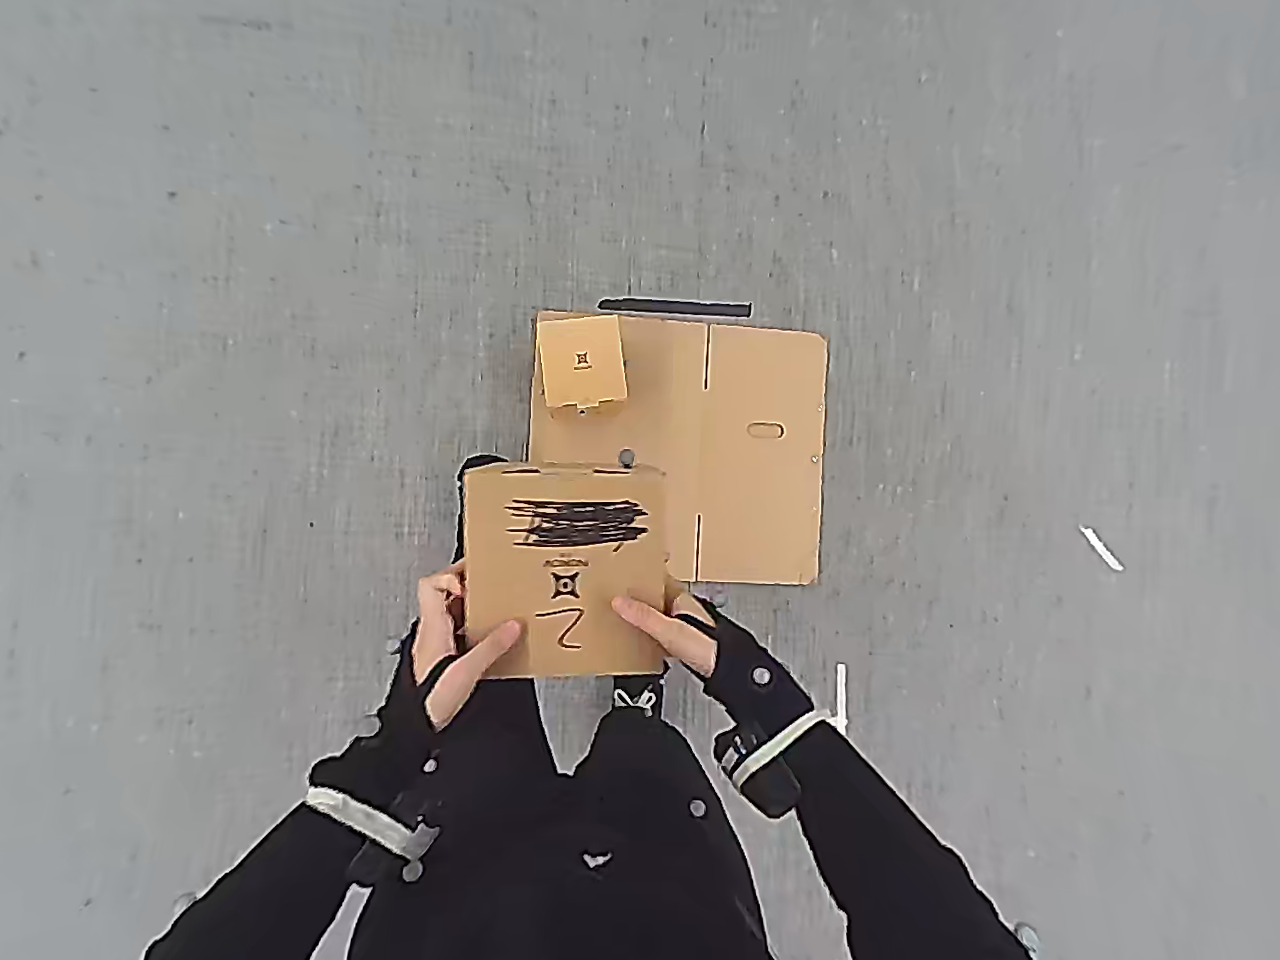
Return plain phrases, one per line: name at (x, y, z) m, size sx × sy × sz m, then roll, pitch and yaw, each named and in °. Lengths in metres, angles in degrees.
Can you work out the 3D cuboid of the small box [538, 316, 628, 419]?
small box at (-0.123, -0.235, 1.160) m, size 0.168 × 0.176 × 0.179 m, roll -8°, pitch 90°, yaw -5°
